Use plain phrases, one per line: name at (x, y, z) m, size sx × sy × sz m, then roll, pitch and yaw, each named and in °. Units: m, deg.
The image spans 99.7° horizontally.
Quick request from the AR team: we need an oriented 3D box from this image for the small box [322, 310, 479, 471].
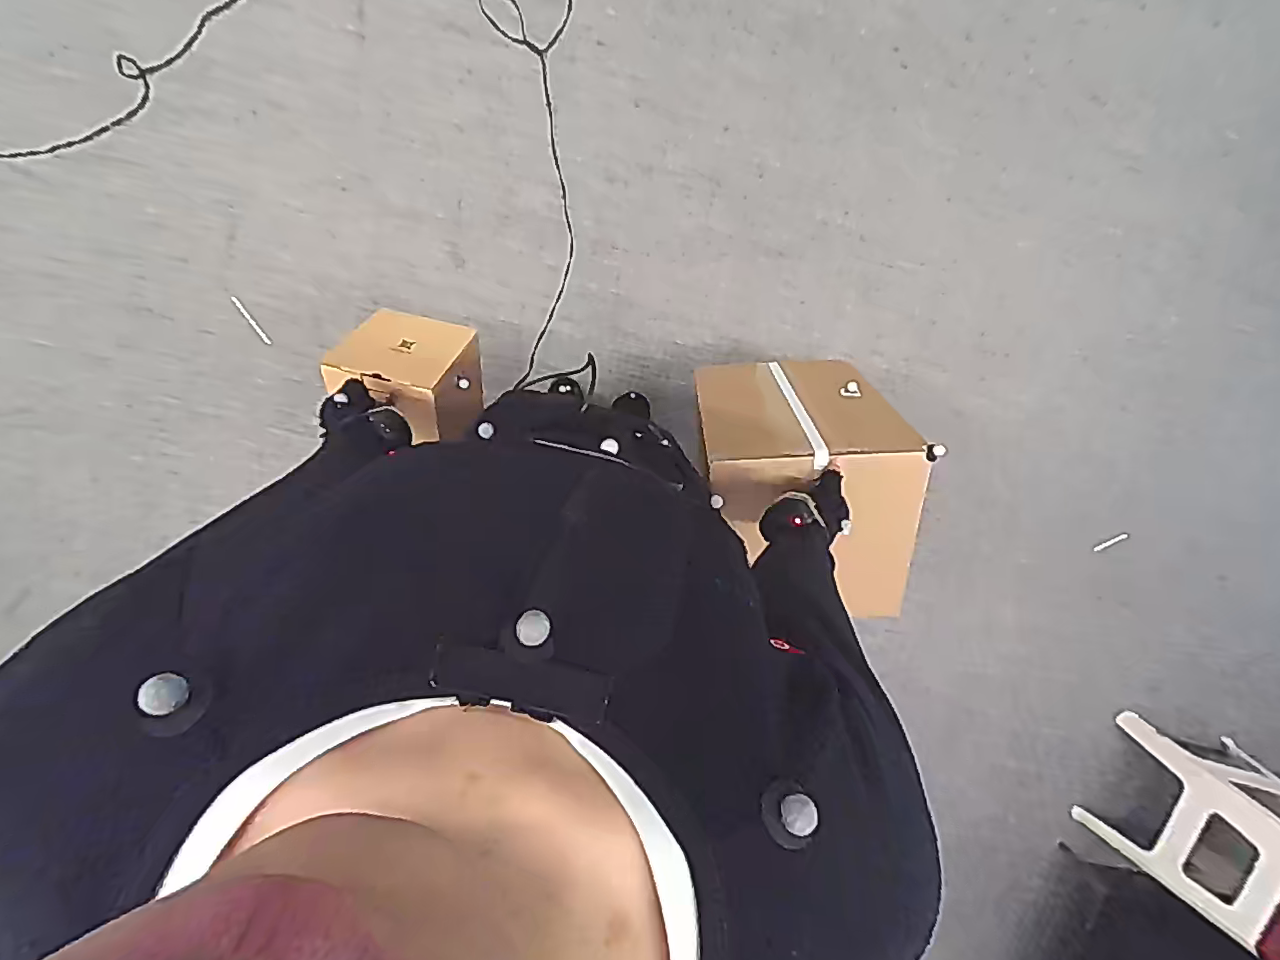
small box at (-0.370, -0.144, 0.875) m, size 0.168 × 0.179 × 0.176 m, roll 13°, pitch 135°, yaw 1°
